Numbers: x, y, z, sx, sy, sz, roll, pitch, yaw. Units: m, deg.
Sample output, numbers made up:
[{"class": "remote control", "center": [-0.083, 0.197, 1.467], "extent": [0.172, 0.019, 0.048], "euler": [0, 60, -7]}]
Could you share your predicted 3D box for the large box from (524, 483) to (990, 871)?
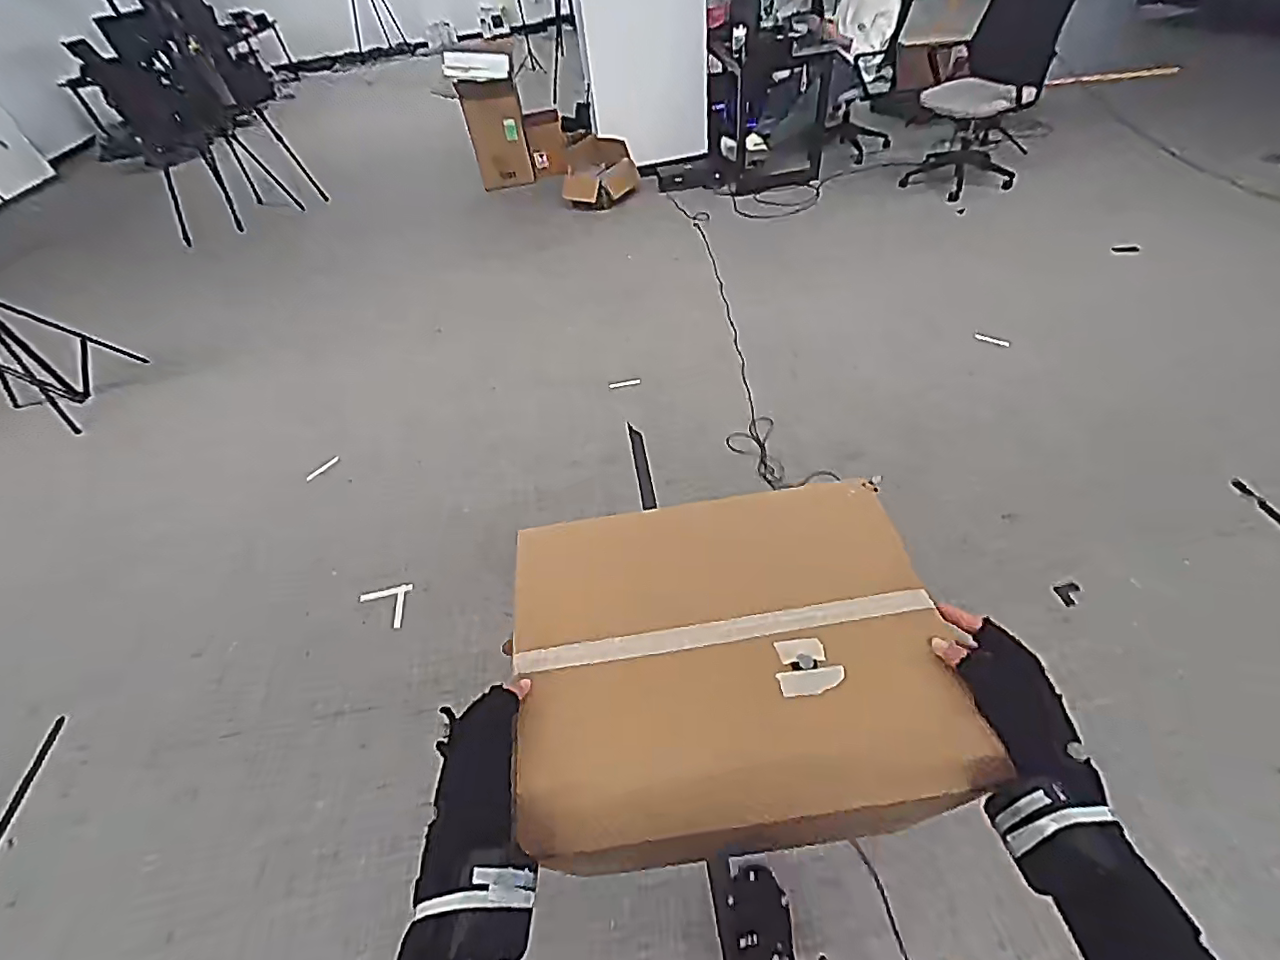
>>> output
[{"class": "large box", "center": [0.092, 0.245, 0.655], "extent": [0.408, 0.320, 0.320], "euler": [-9, 52, -1]}]
